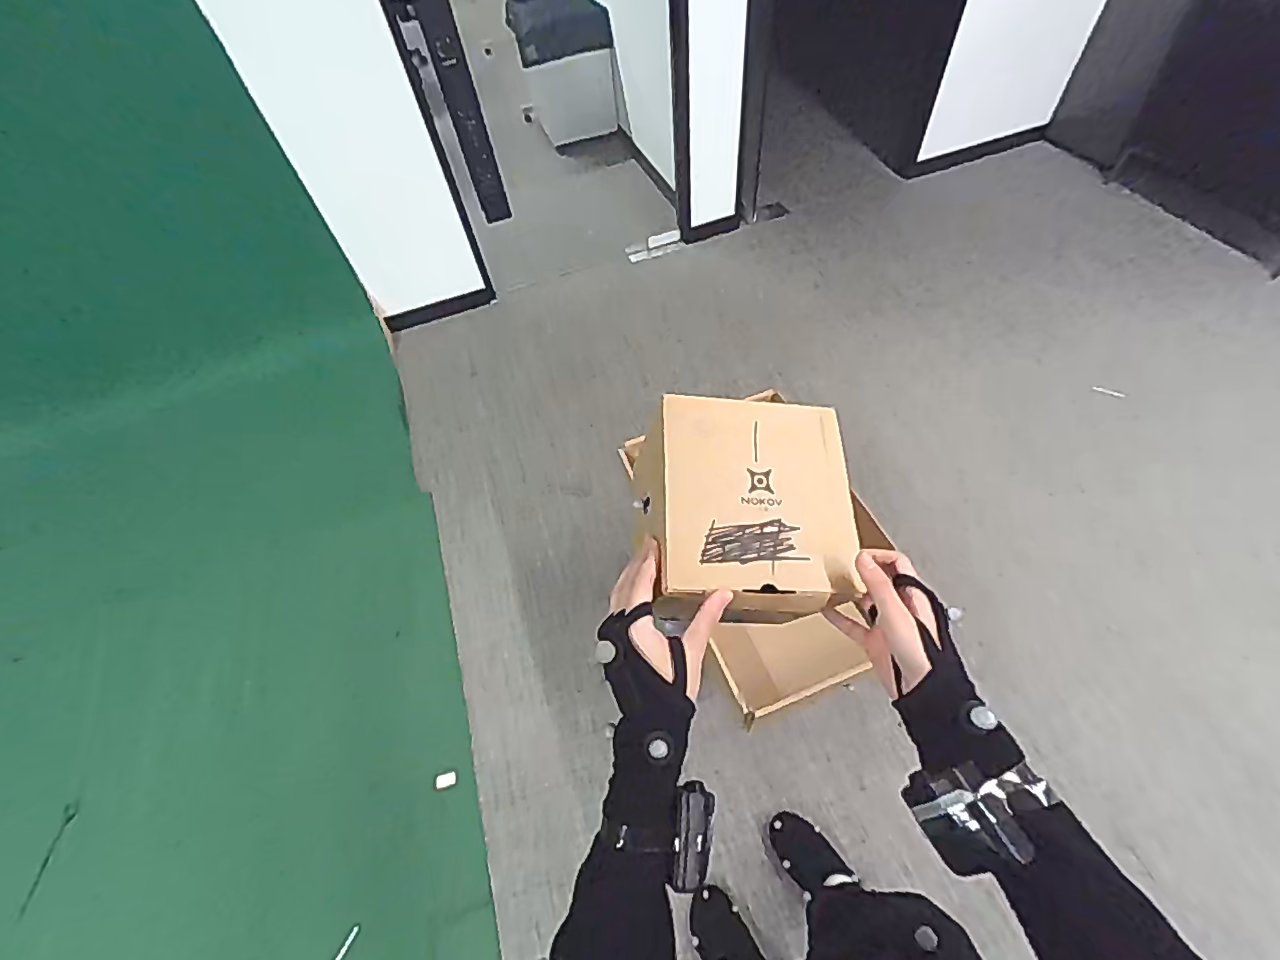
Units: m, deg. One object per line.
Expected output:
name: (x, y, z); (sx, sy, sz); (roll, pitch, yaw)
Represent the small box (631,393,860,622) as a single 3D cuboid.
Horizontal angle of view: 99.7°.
small box: (0.086, 0.040, 0.530); (0.168, 0.176, 0.179); (5, 66, -10)
